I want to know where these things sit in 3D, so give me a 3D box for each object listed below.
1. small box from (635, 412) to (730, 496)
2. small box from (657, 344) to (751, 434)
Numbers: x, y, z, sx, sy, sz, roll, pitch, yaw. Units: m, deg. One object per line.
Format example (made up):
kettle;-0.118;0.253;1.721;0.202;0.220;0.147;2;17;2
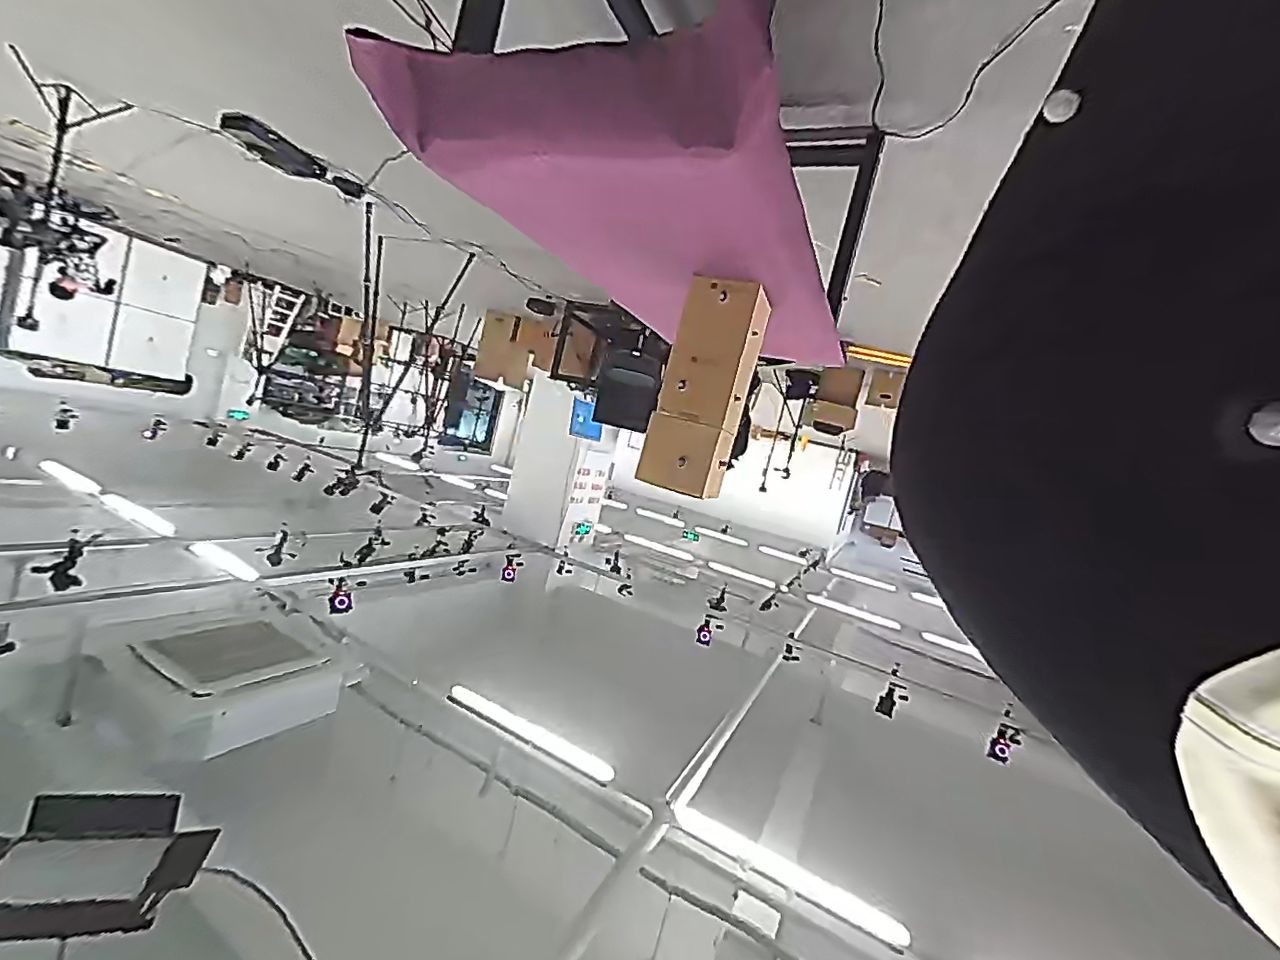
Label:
small box;0.111;-0.063;1.317;0.179;0.176;0.168;16;-177;20
small box;0.159;-0.218;1.305;0.168;0.176;0.179;16;-176;20
